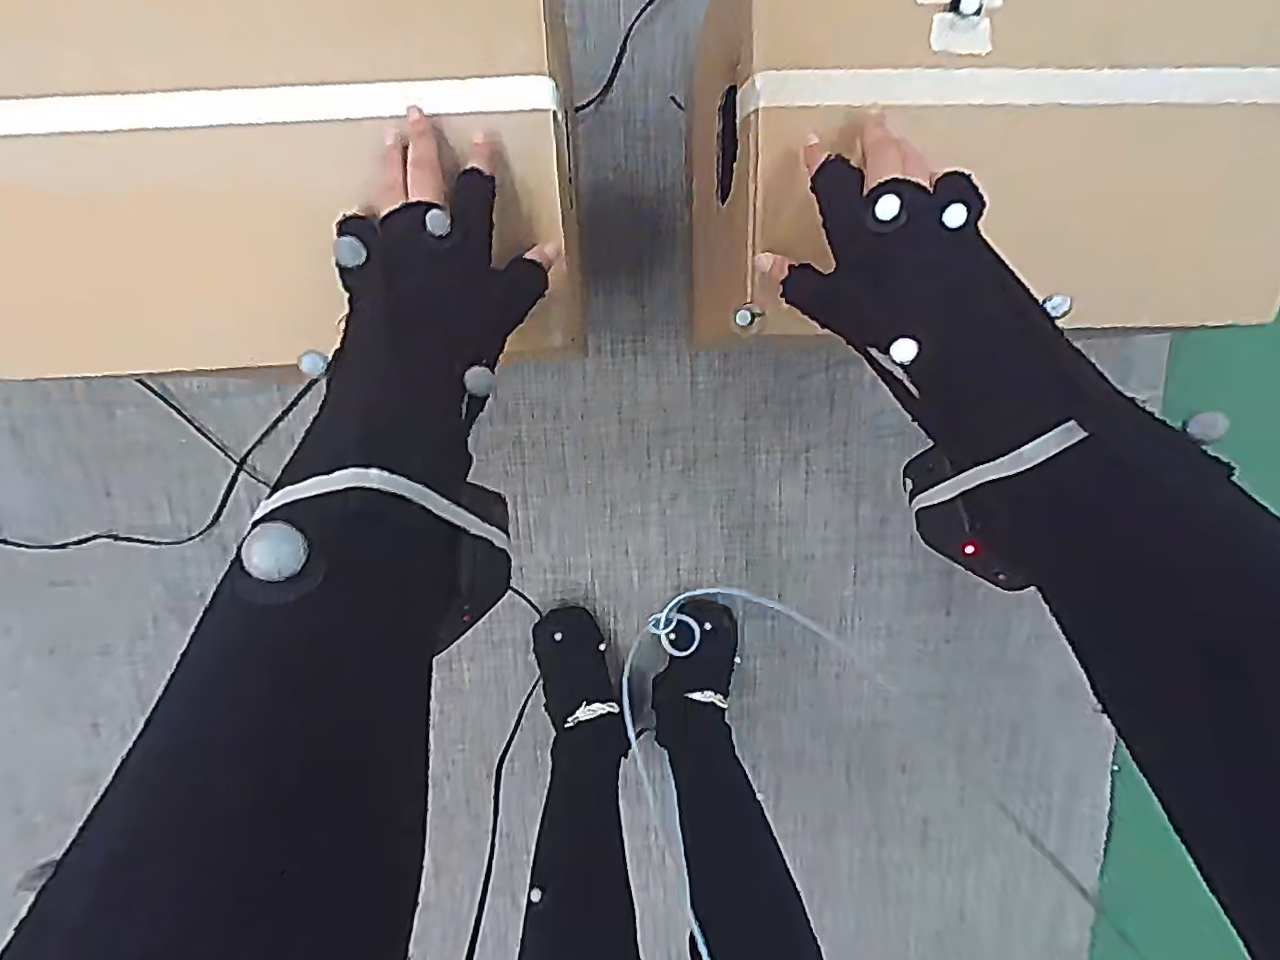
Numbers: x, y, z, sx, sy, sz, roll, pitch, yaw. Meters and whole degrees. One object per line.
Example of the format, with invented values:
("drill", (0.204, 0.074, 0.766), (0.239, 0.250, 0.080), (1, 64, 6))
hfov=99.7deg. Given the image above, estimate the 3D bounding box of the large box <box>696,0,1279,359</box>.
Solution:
("large box", (0.277, -0.287, 0.546), (0.408, 0.320, 0.320), (-1, 100, -2))
